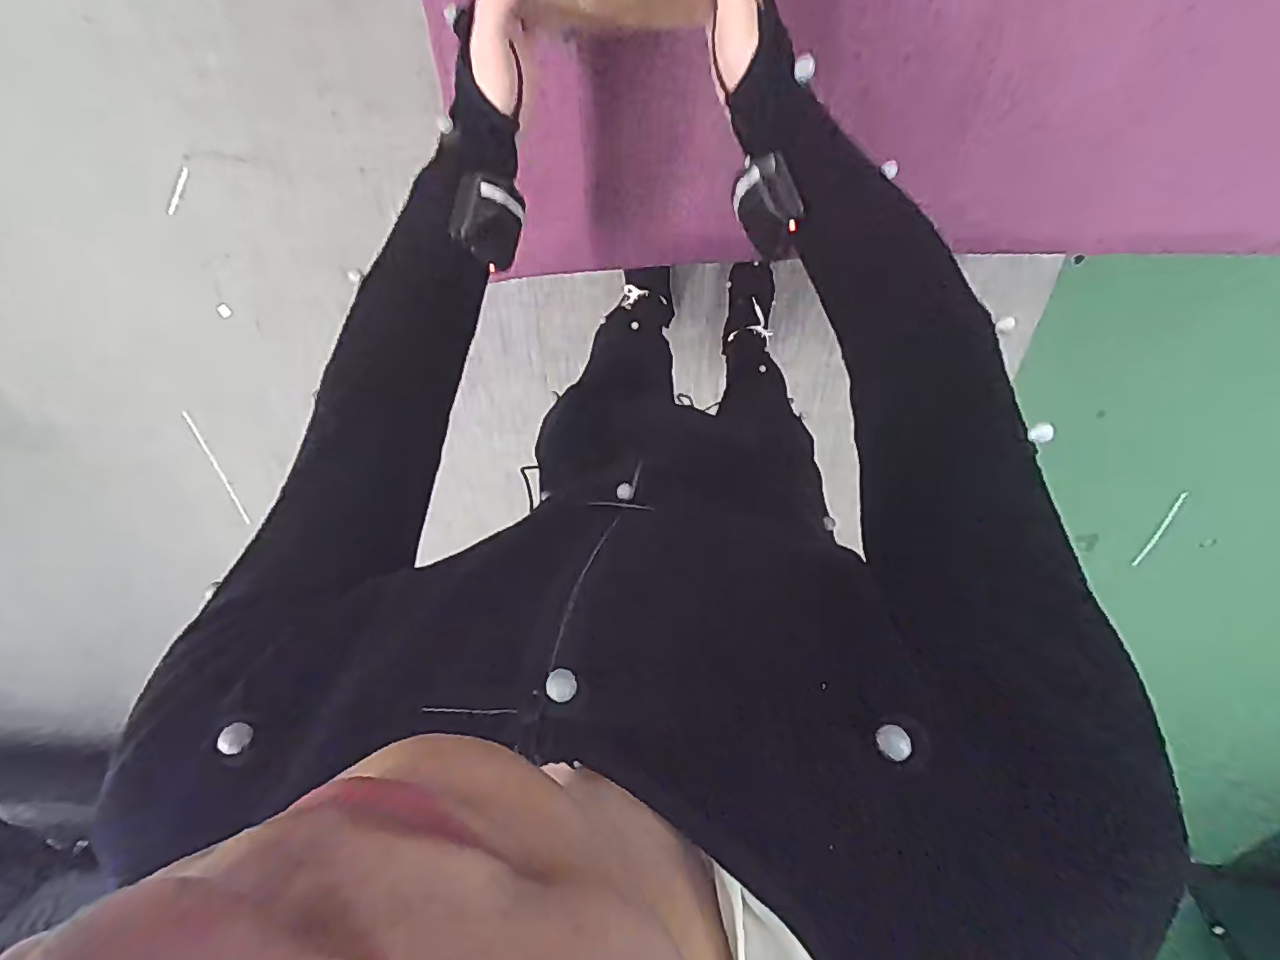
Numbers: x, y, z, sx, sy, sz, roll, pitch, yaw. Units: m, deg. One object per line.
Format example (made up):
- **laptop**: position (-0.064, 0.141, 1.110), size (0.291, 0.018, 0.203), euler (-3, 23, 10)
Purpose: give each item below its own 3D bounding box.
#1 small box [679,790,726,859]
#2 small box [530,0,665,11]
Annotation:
- **small box**: position (0.240, 1.335, 2.101), size (0.168, 0.176, 0.179), euler (3, 123, 3)
- **small box**: position (-0.032, -0.482, 0.404), size (0.168, 0.176, 0.179), euler (-2, 120, 6)
